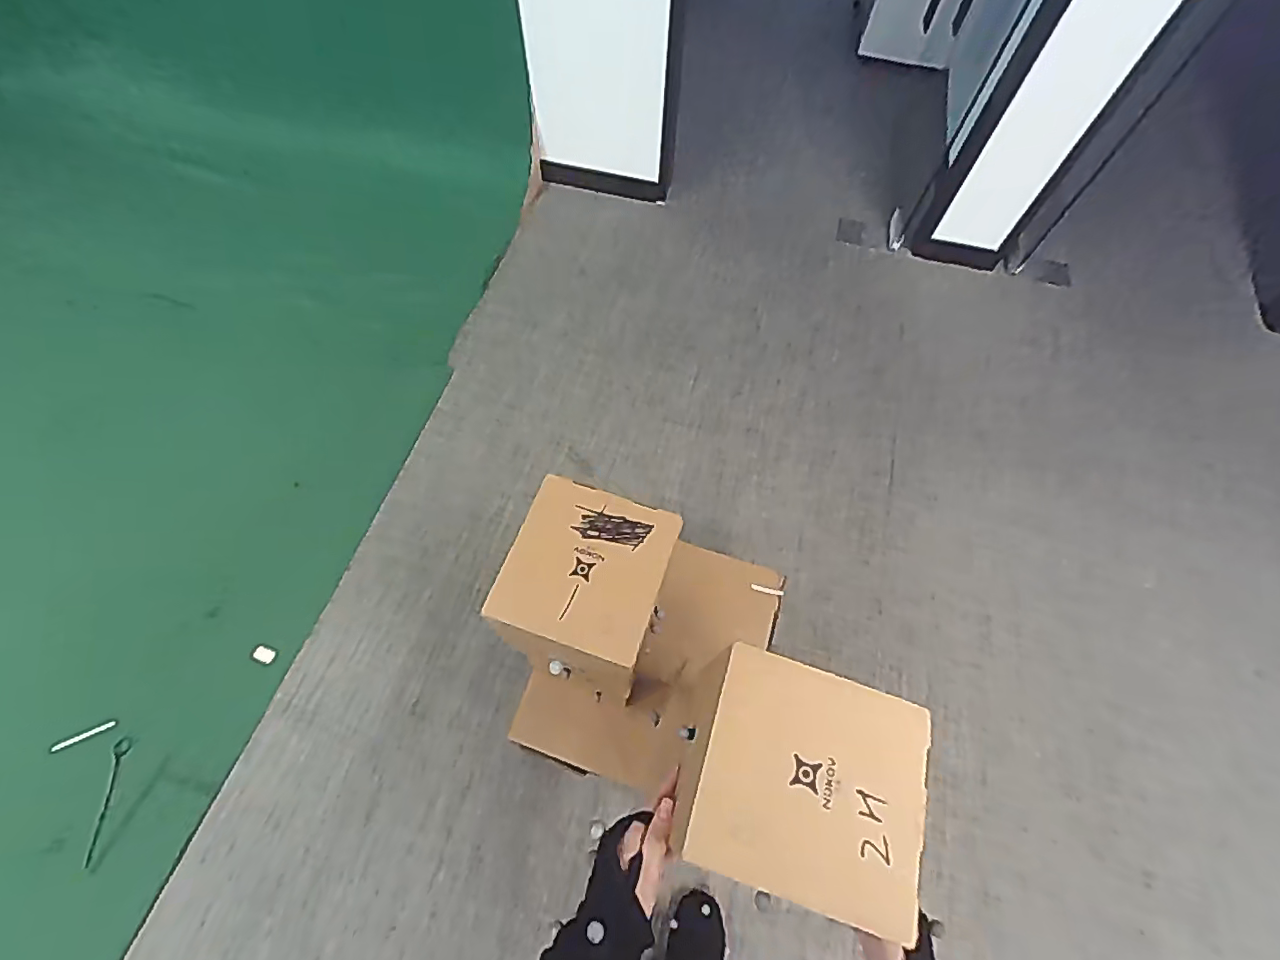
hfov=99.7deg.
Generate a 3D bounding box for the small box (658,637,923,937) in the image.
[{"bbox_3d":[0.124,0.266,0.494,0.179,0.176,0.168,19,63,5],"label":"small box"}]

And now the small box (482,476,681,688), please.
[{"bbox_3d":[-0.061,0.128,0.647,0.168,0.176,0.179,18,63,8],"label":"small box"}]

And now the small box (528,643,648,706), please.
[{"bbox_3d":[-0.074,0.275,0.939,0.168,0.176,0.179,17,61,7],"label":"small box"}]

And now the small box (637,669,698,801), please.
[{"bbox_3d":[0.098,0.429,0.858,0.168,0.176,0.179,19,61,8],"label":"small box"}]
